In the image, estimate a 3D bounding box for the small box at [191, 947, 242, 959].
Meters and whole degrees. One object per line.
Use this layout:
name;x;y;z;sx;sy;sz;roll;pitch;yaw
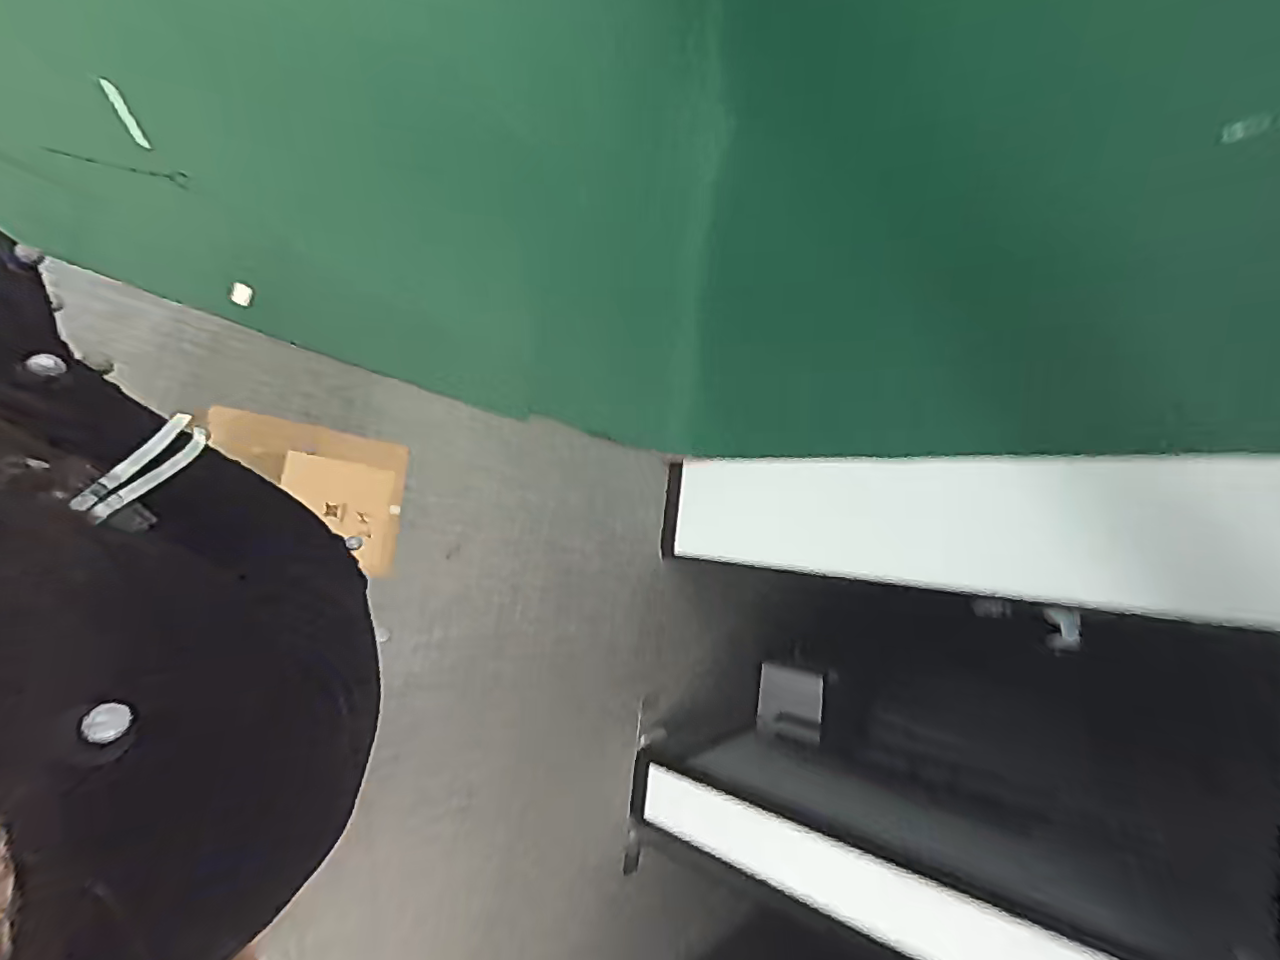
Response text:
small box;-0.779;0.968;0.927;0.168;0.176;0.179;31;67;-51

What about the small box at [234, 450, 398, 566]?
small box;-0.549;0.050;0.917;0.179;0.176;0.168;18;77;-52

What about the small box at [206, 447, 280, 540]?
small box;-0.678;0.039;1.020;0.179;0.176;0.168;18;77;-52

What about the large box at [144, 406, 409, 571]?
large box;-0.817;0.036;1.239;0.408;0.320;0.320;15;80;-52
